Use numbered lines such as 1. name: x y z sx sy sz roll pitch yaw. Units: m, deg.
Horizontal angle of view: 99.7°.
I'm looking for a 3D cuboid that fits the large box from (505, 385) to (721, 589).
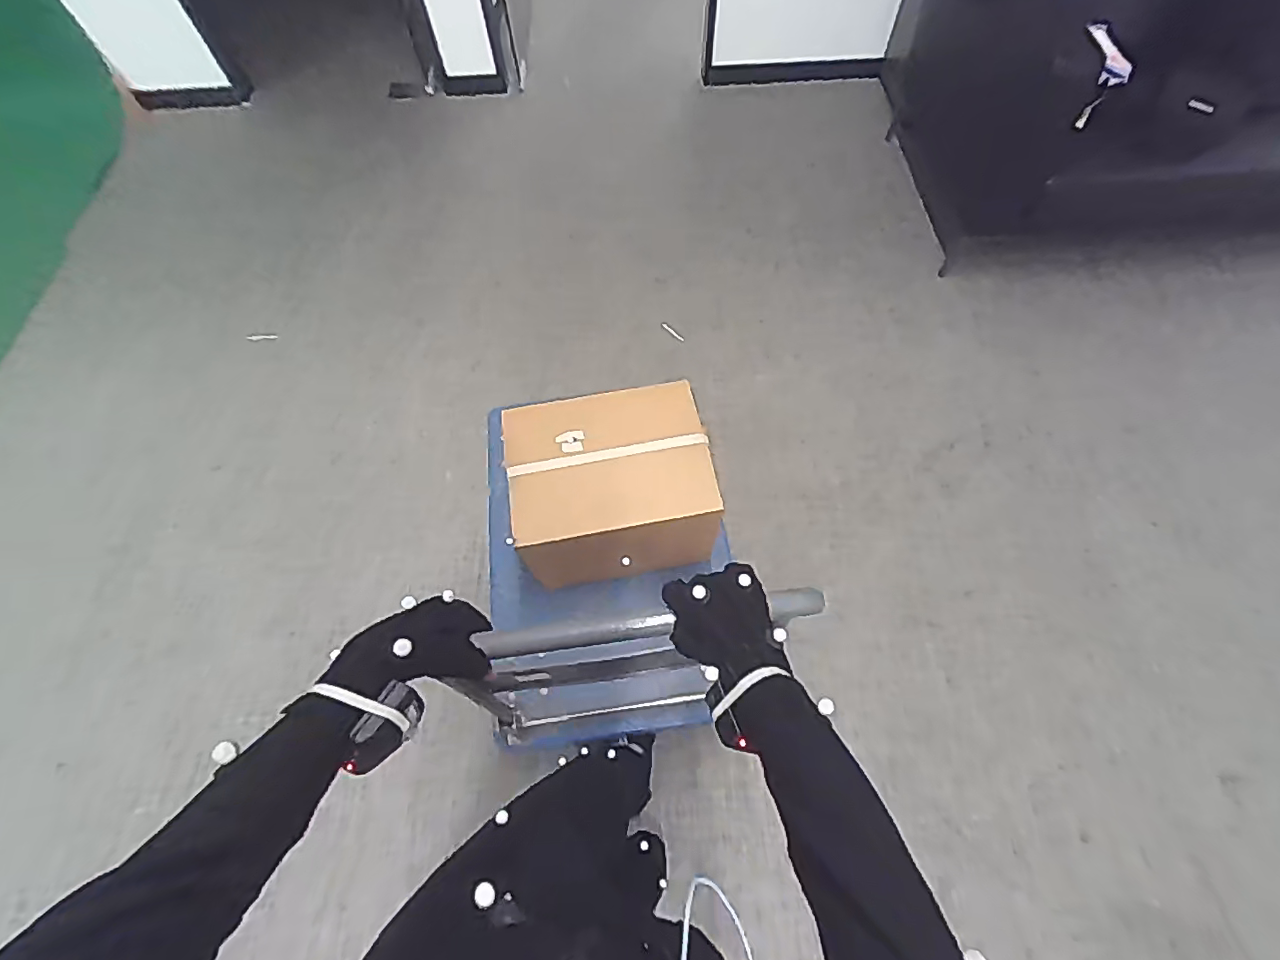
1. large box: -0.059 0.029 1.229 0.408 0.320 0.320 -11 63 -3
